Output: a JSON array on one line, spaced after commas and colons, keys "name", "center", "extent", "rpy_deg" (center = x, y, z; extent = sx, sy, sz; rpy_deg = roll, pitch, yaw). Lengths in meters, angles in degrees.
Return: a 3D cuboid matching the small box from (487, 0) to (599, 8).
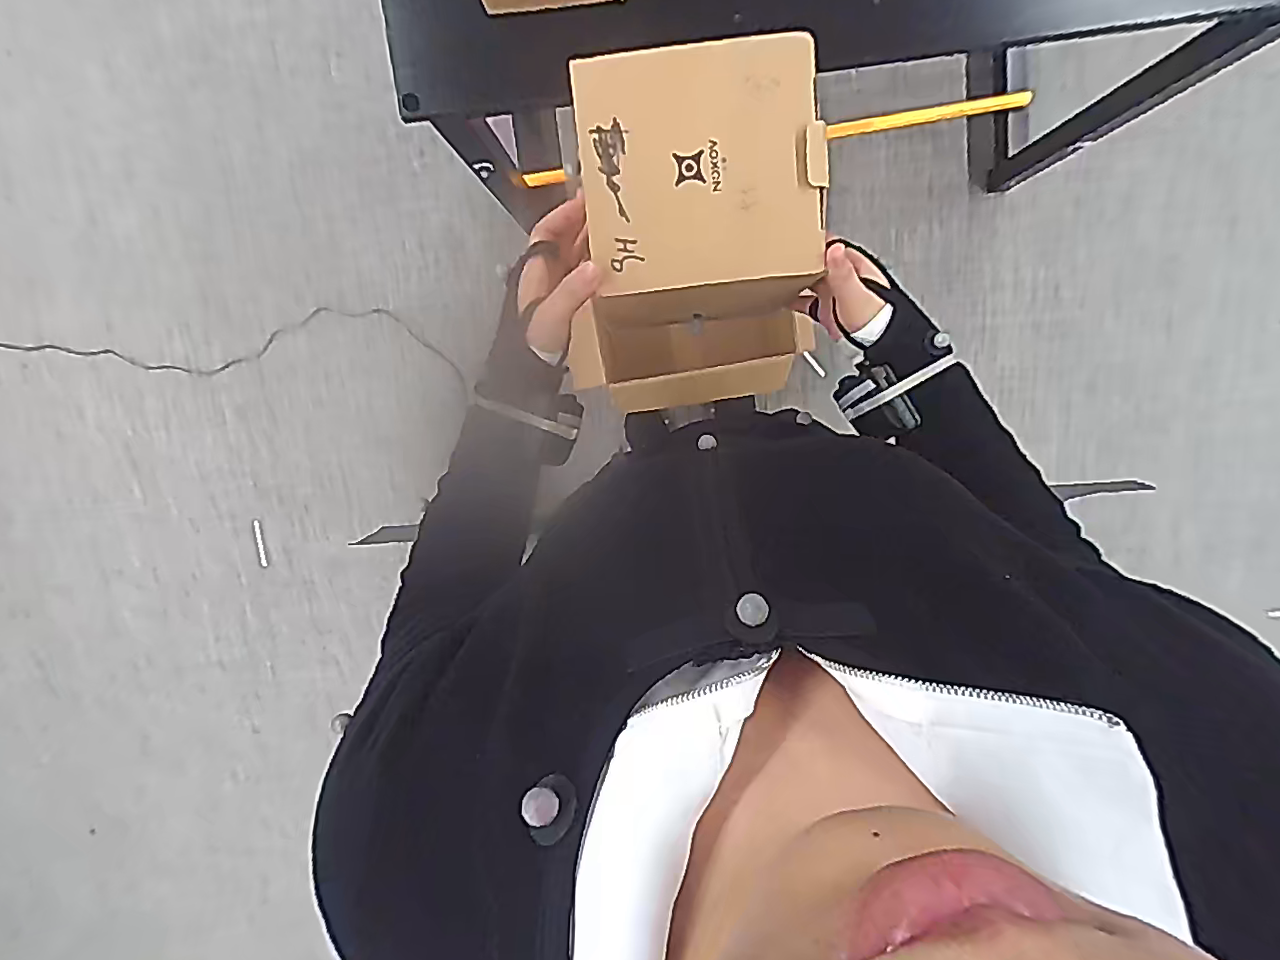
[{"name": "small box", "center": [-0.109, -0.639, 0.563], "extent": [0.179, 0.176, 0.168], "rpy_deg": [-5, 101, 1]}]
